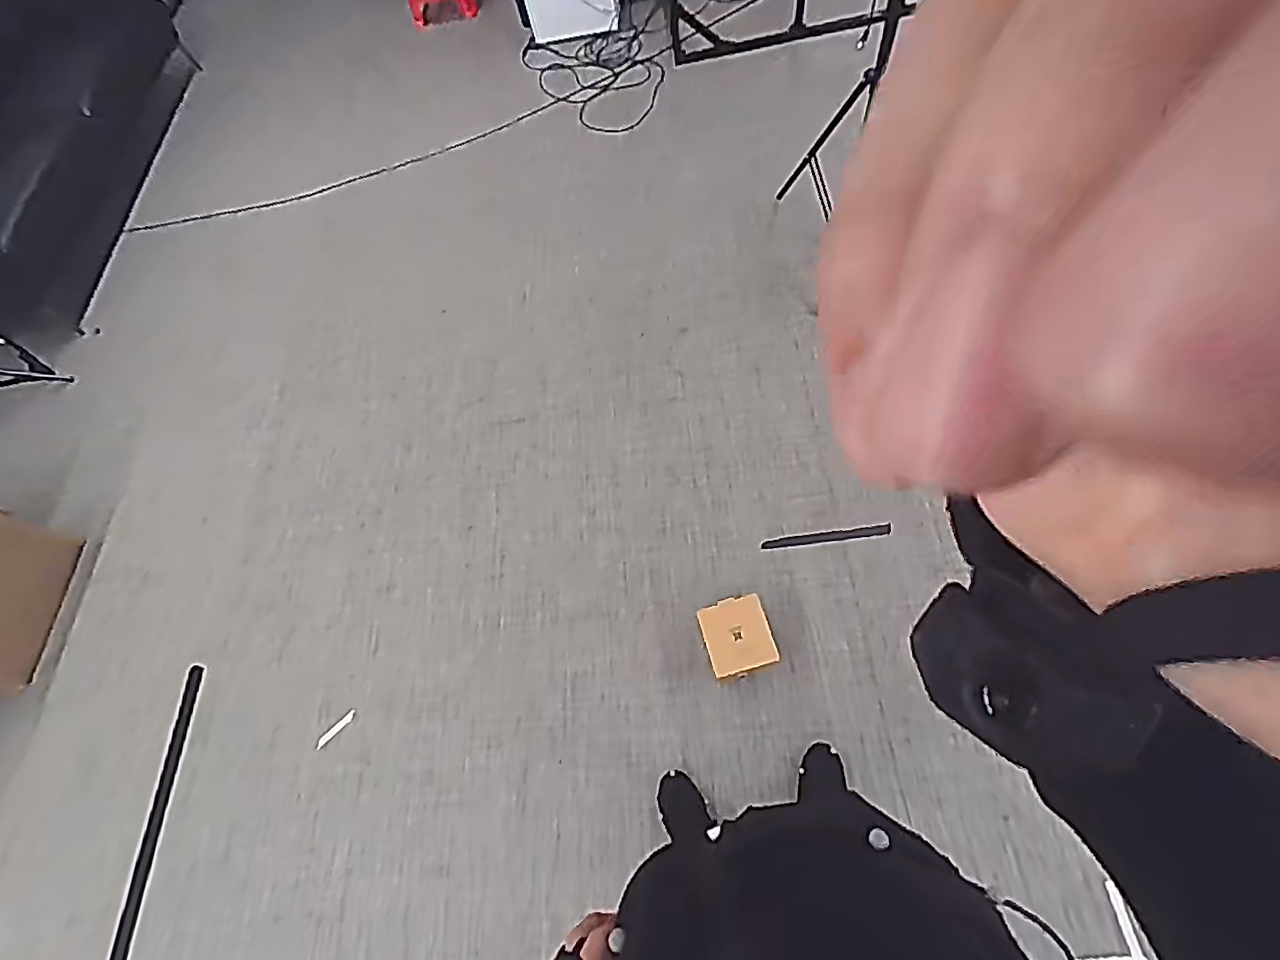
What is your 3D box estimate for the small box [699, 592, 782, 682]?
[{"bbox_3d":[0.259,0.416,1.418,0.168,0.176,0.179,-18,64,3],"label":"small box"}]
